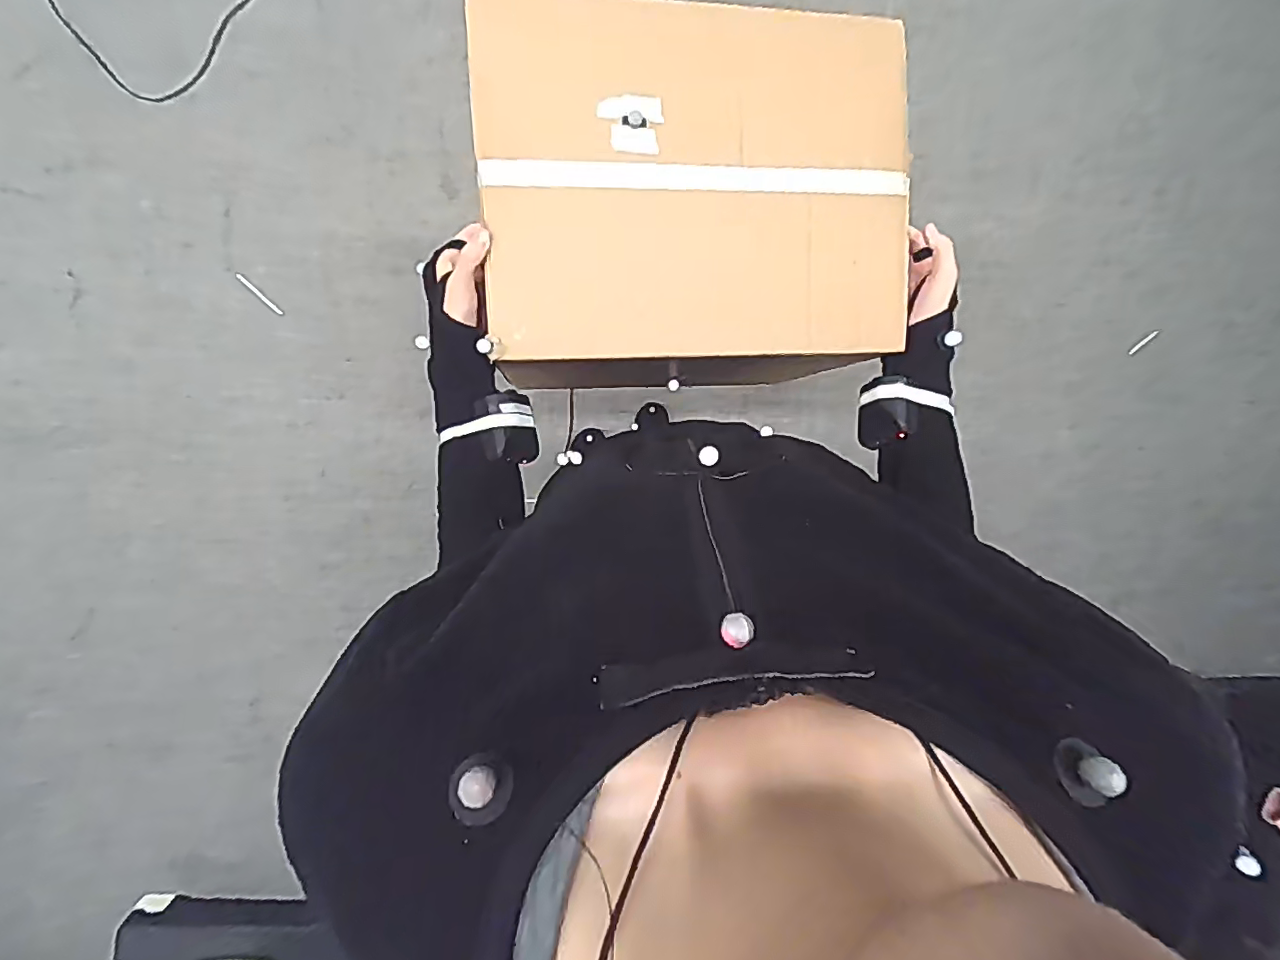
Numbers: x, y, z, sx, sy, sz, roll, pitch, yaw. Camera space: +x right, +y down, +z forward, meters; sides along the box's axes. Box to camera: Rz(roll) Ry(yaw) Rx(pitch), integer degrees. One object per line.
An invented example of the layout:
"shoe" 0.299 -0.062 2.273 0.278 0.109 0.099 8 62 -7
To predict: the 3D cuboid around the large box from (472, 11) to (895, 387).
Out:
"large box" 0.037 -0.284 0.657 0.408 0.320 0.320 -3 94 -8
